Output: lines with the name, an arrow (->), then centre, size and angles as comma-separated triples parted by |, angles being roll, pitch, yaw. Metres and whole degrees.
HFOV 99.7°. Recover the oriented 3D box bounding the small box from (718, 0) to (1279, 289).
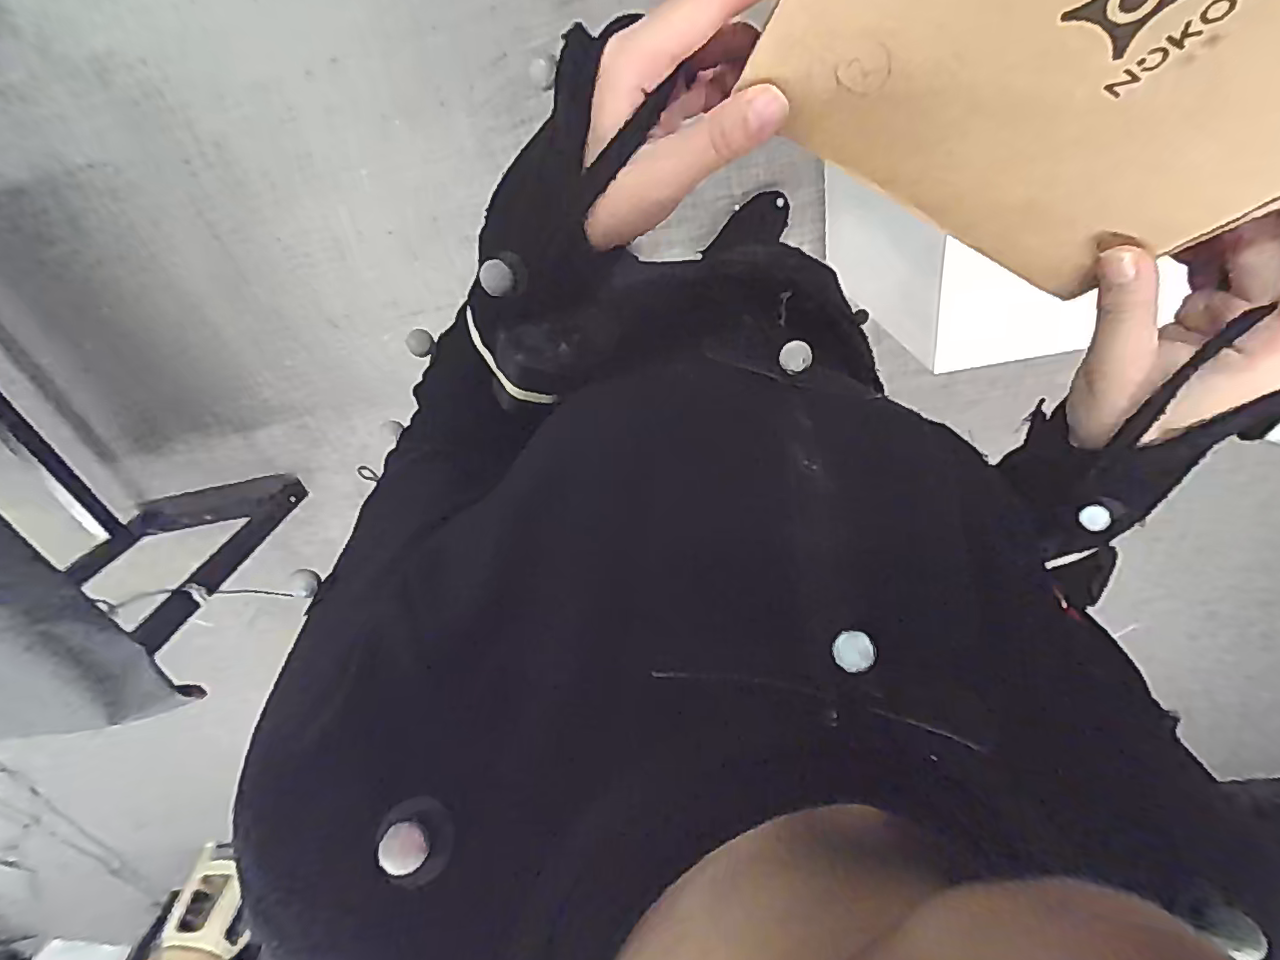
small box -> 0.153, -0.203, 0.165 | 0.179, 0.176, 0.168 | 22, 163, -12
